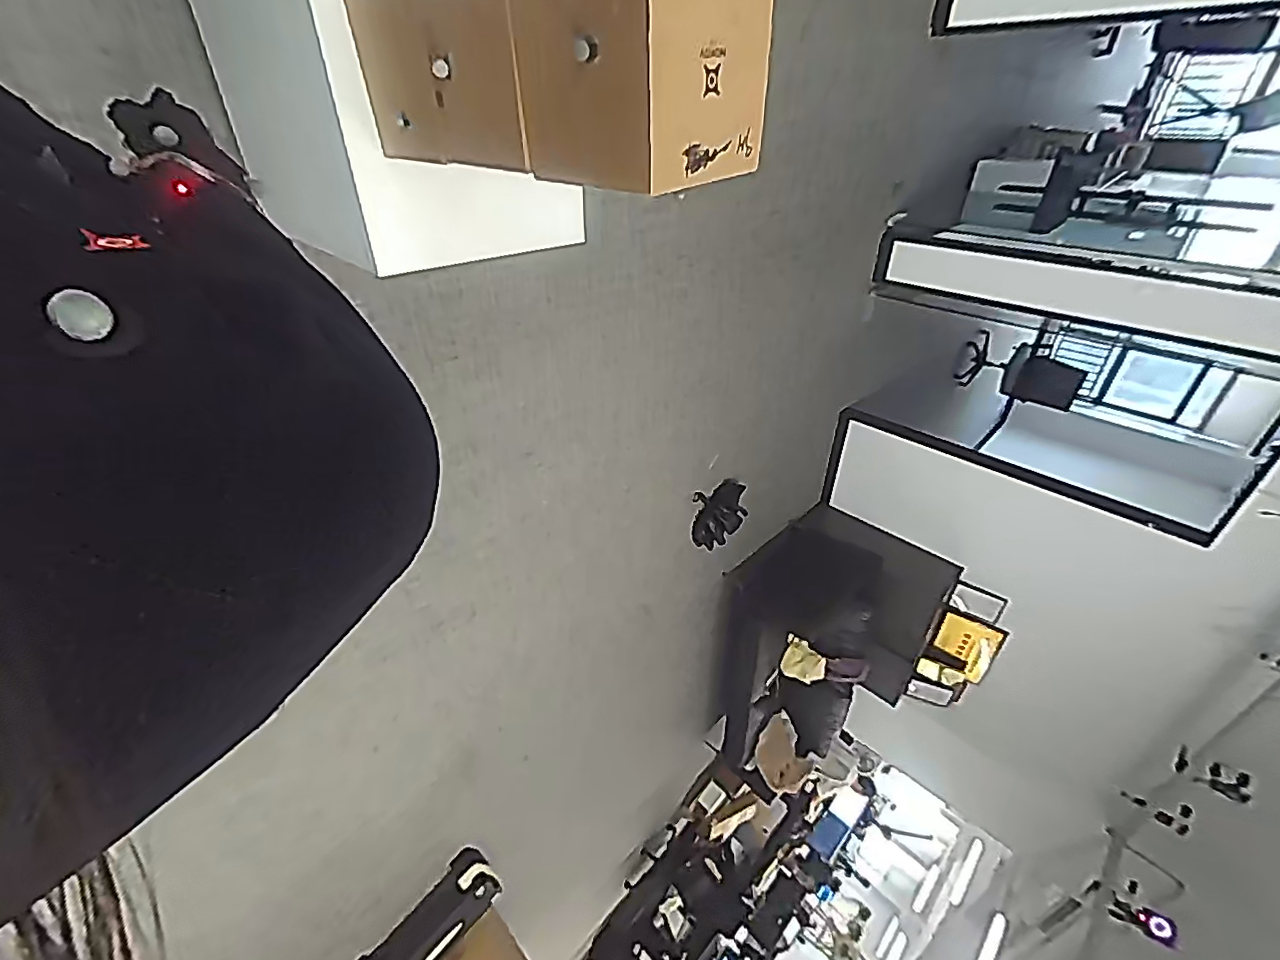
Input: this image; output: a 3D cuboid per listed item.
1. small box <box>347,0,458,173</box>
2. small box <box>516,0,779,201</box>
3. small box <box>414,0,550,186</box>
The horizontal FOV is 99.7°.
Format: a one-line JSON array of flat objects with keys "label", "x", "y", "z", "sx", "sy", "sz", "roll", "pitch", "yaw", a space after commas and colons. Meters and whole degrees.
[{"label": "small box", "x": -0.231, "y": -0.500, "z": 0.680, "sx": 0.168, "sy": 0.176, "sz": 0.179, "roll": -33, "pitch": 135, "yaw": -34}, {"label": "small box", "x": 0.006, "y": -0.369, "z": 0.494, "sx": 0.168, "sy": 0.176, "sz": 0.179, "roll": -33, "pitch": 136, "yaw": -33}, {"label": "small box", "x": -0.109, "y": -0.434, "z": 0.592, "sx": 0.179, "sy": 0.176, "sz": 0.168, "roll": -35, "pitch": 138, "yaw": -33}]
